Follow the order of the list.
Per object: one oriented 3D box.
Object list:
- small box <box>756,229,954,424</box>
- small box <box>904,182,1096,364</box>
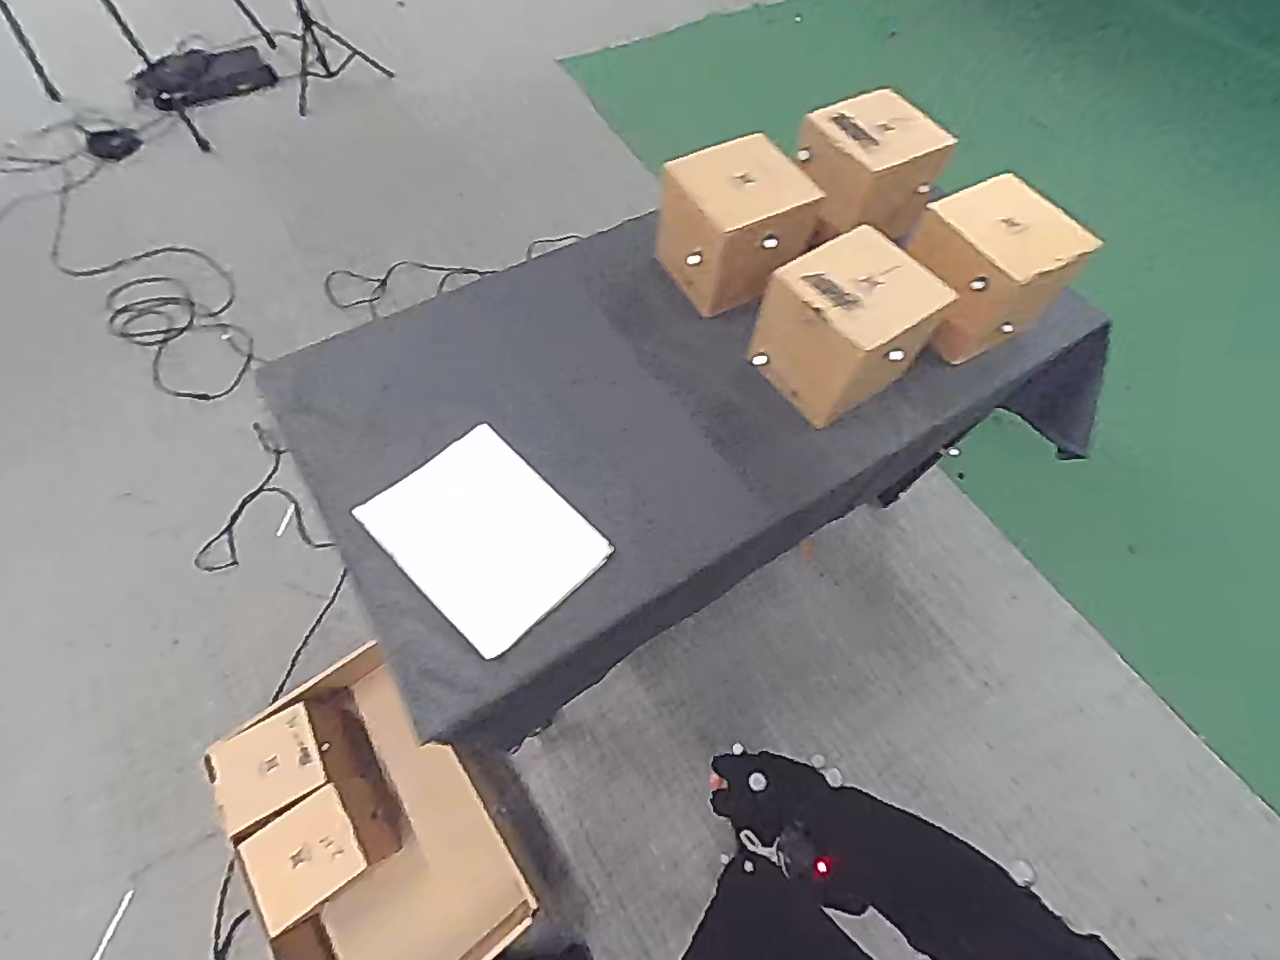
[{"bbox_3d":[0.283,-0.209,0.763,0.179,0.176,0.168,-31,68,-18],"label":"small box"},{"bbox_3d":[0.515,-0.312,0.829,0.168,0.176,0.179,-26,66,-15],"label":"small box"}]
